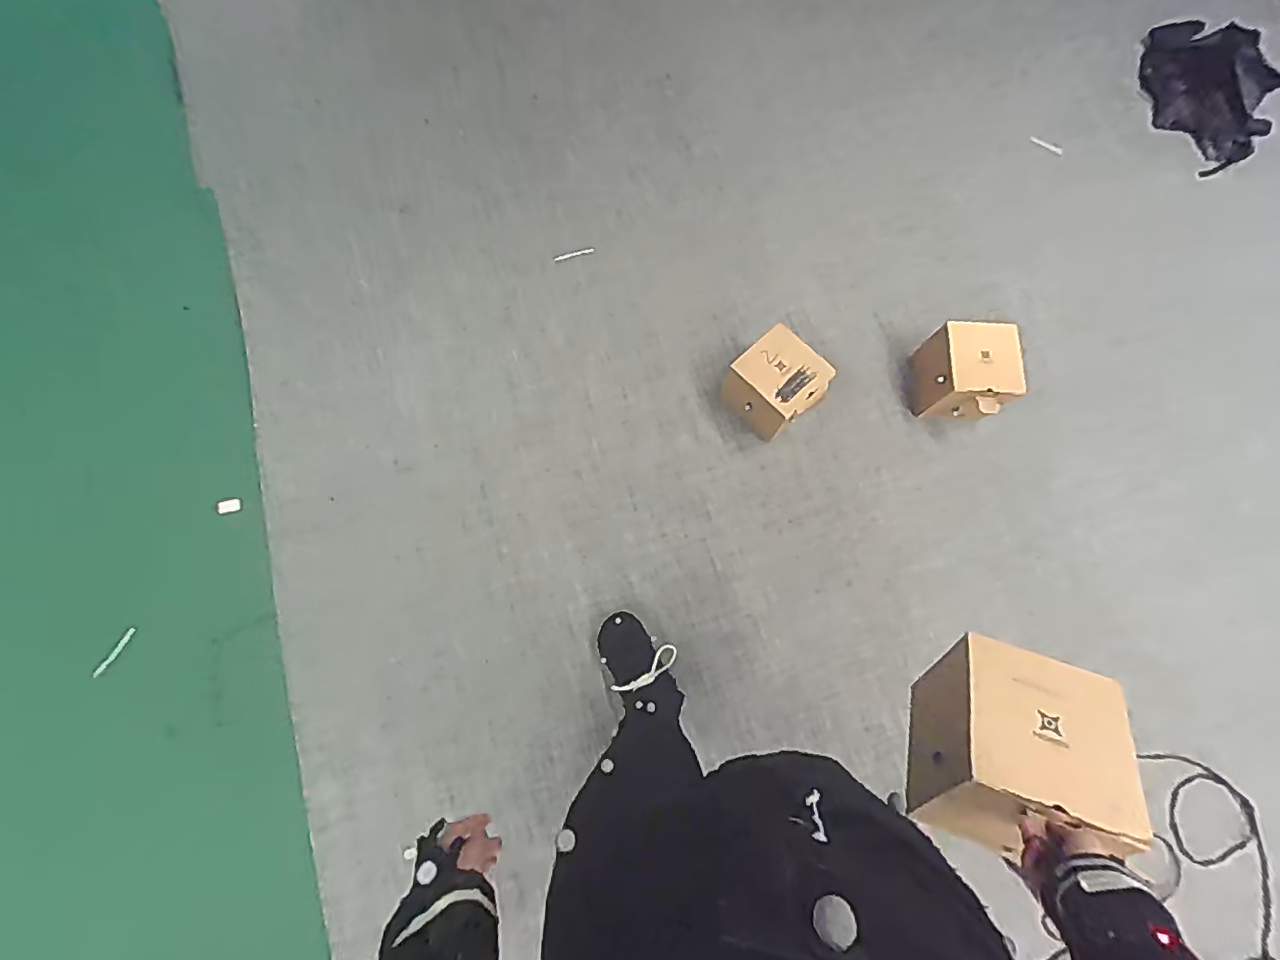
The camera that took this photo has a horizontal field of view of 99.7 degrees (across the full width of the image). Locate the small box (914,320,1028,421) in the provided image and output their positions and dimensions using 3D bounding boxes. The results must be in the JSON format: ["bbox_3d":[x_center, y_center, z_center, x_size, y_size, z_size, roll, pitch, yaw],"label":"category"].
[{"bbox_3d":[0.779,-0.257,1.291,0.168,0.176,0.179,3,76,-1],"label":"small box"}]

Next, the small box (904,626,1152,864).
[{"bbox_3d":[0.425,0.309,0.628,0.168,0.176,0.179,18,48,12],"label":"small box"}]
